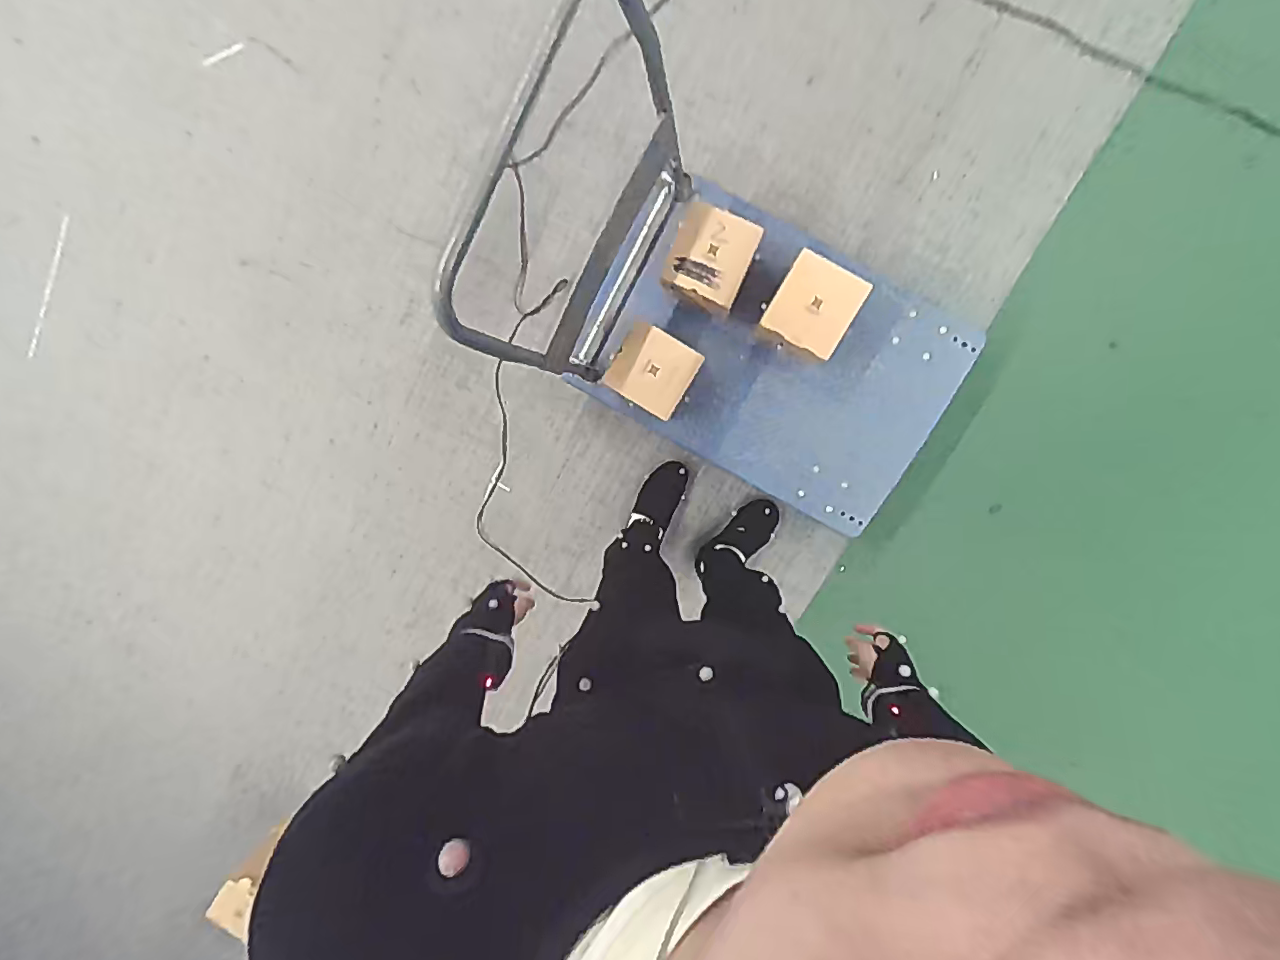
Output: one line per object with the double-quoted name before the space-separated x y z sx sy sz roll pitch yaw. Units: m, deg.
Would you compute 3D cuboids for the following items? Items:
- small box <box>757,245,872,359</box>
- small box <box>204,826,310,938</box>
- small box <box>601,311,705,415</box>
"small box" 0.377 -0.388 1.207 0.168 0.176 0.179 30 102 1
"small box" -1.148 1.207 1.634 0.168 0.176 0.179 36 101 -1
"small box" 0.036 -0.266 1.262 0.179 0.176 0.168 32 101 0
